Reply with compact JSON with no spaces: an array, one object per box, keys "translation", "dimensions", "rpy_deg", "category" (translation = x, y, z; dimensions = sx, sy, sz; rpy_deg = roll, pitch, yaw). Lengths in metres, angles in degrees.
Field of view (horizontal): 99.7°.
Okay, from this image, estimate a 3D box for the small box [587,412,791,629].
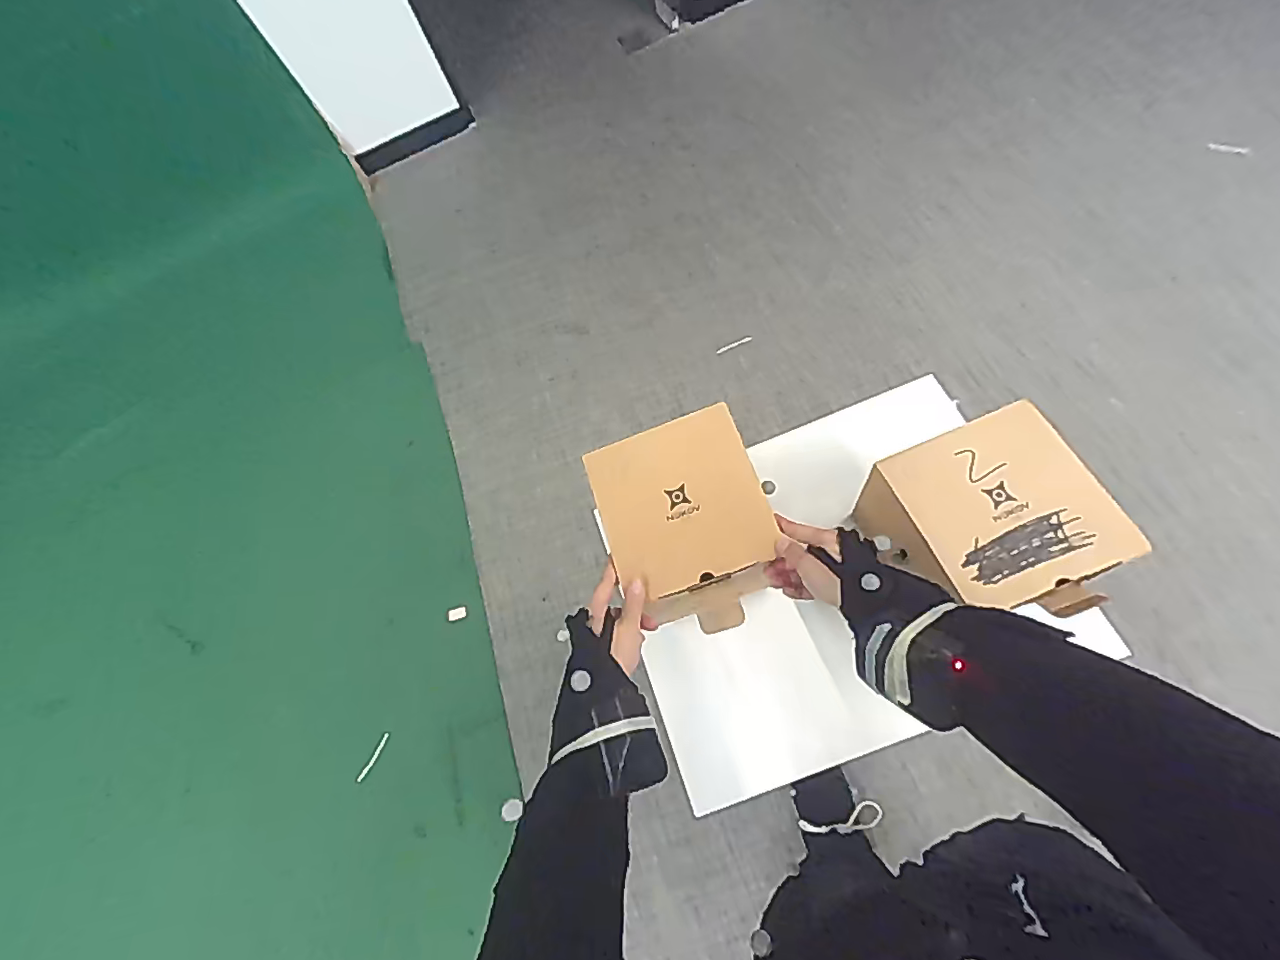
[{"translation":[0.056,0.056,0.617],"dimensions":[0.168,0.176,0.179],"rpy_deg":[-20,68,4],"category":"small box"}]
